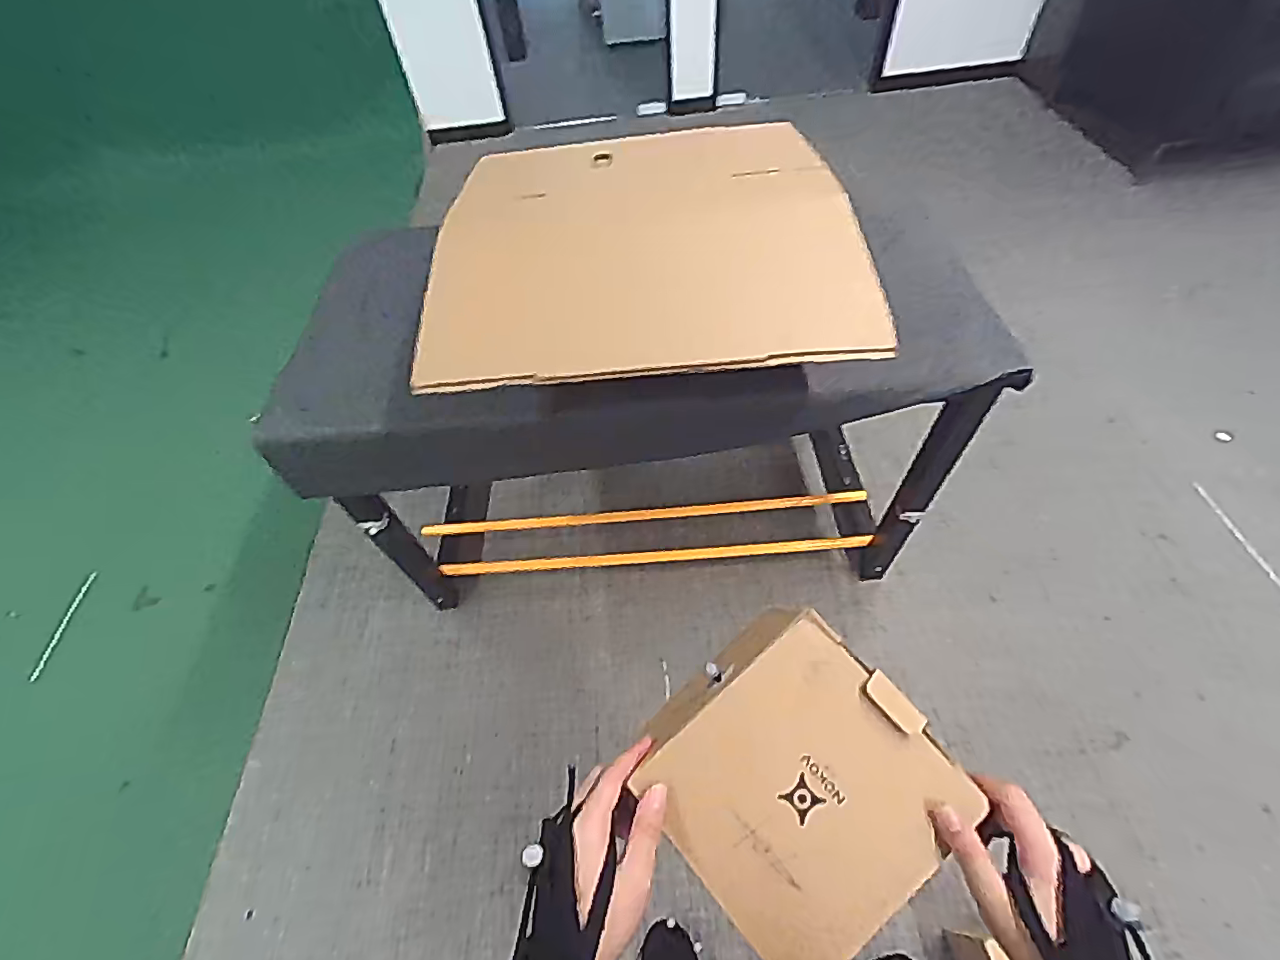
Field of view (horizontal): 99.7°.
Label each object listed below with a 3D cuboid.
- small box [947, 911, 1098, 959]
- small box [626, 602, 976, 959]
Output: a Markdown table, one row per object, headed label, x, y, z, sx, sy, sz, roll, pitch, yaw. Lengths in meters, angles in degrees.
| label | x | y | z | sx | sy | sz | roll | pitch | yaw |
| --- | --- | --- | --- | --- | --- | --- | --- | --- | --- |
| small box | 0.648 | 0.836 | 0.894 | 0.168 | 0.176 | 0.179 | -10 | 53 | -2 |
| small box | 0.109 | 0.216 | 0.436 | 0.179 | 0.176 | 0.168 | -42 | 77 | -6 |
